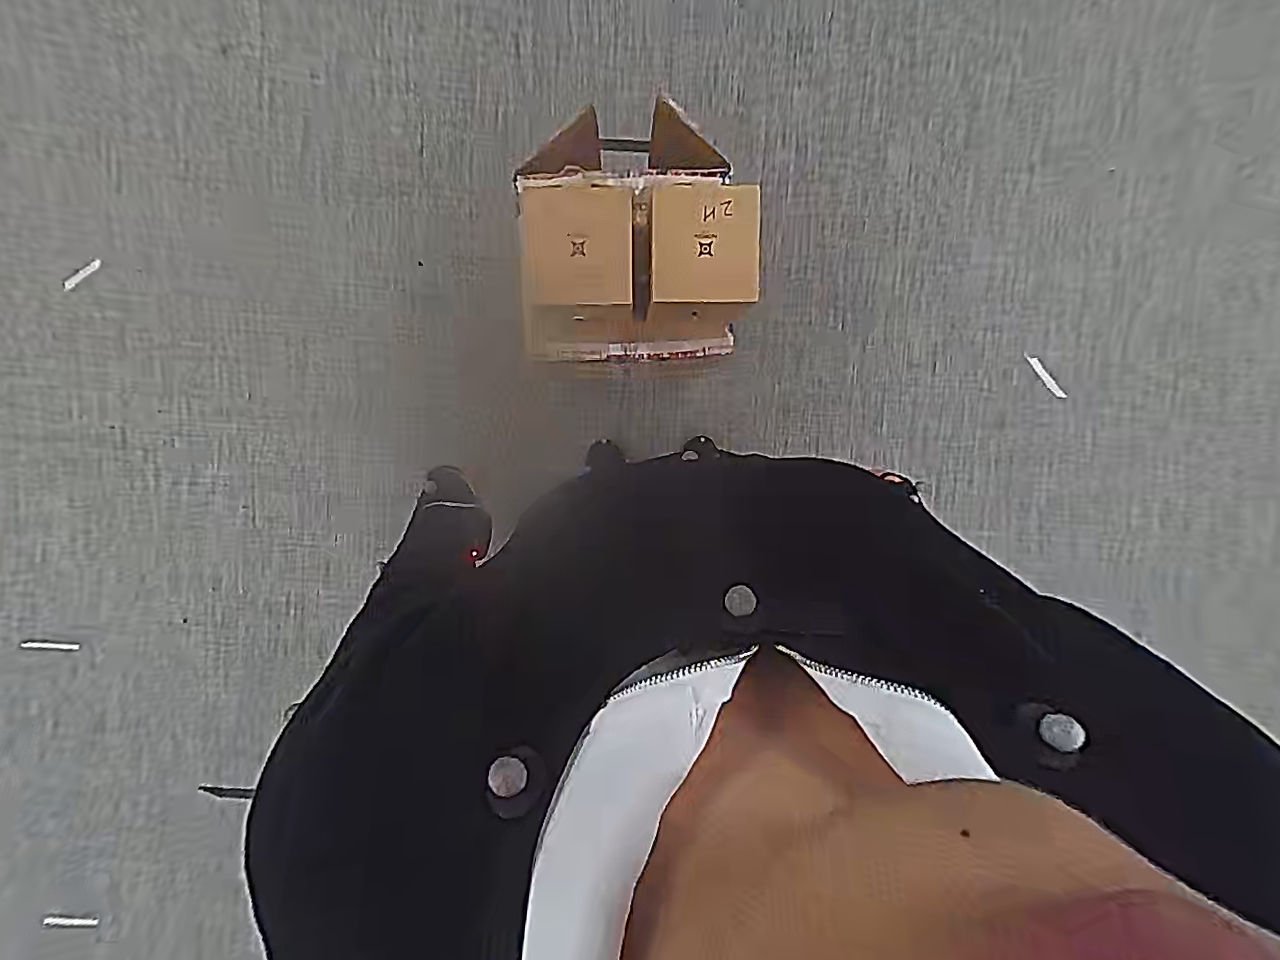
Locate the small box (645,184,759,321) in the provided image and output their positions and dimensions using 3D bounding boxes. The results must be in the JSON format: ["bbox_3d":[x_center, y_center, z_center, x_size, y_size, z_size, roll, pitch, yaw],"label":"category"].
[{"bbox_3d":[0.095,-0.367,0.902,0.168,0.176,0.179,-1,96,-3],"label":"small box"}]

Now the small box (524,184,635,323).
[{"bbox_3d":[-0.093,-0.366,0.899,0.168,0.176,0.179,-2,98,1],"label":"small box"}]
